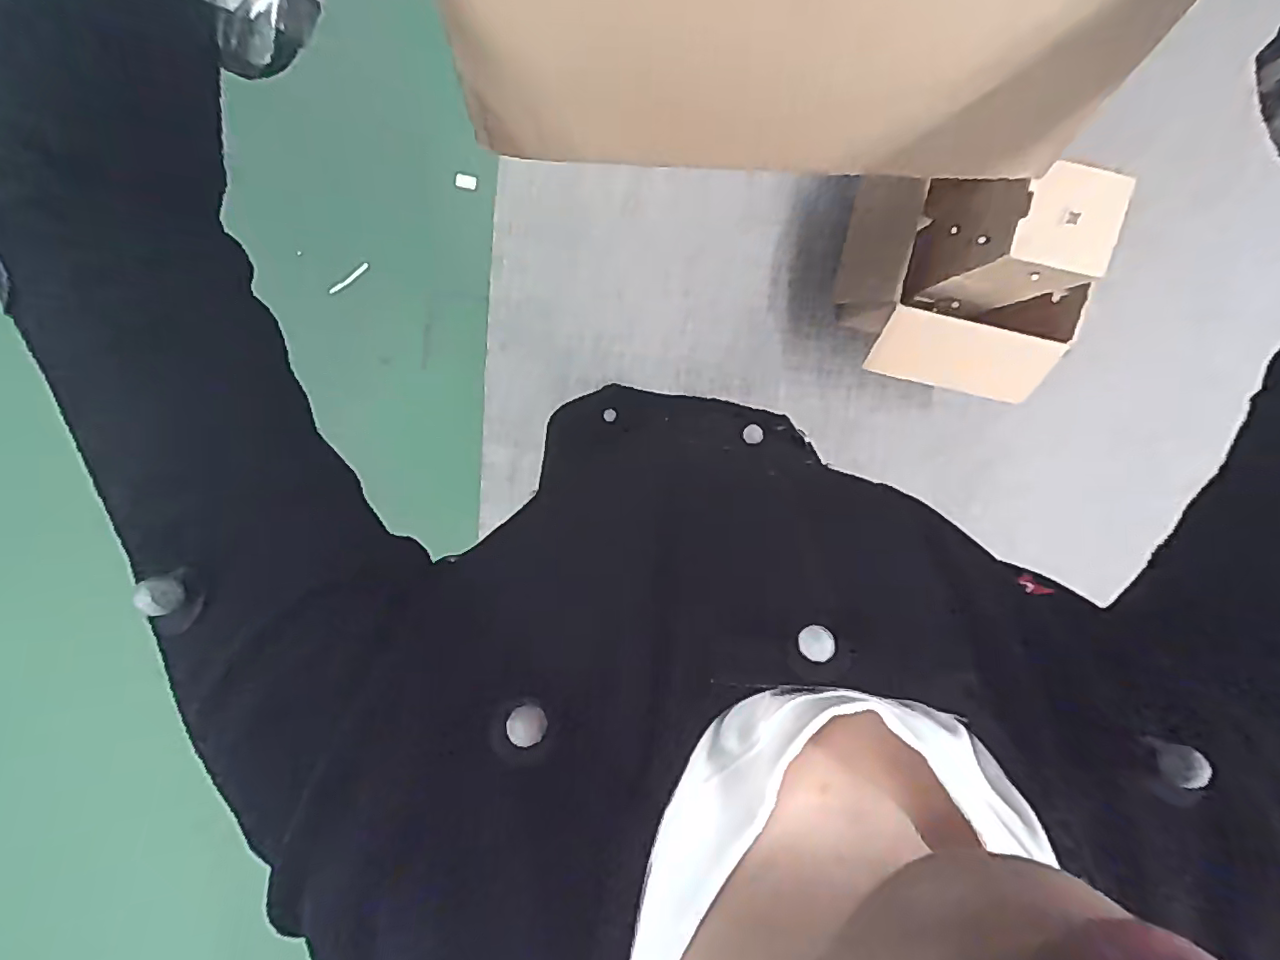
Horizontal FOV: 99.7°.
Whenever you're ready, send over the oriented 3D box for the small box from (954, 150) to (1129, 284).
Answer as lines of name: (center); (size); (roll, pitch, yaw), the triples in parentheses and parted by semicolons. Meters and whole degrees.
small box: (0.722, -0.471, 0.996); (0.179, 0.176, 0.168); (10, 99, -3)
